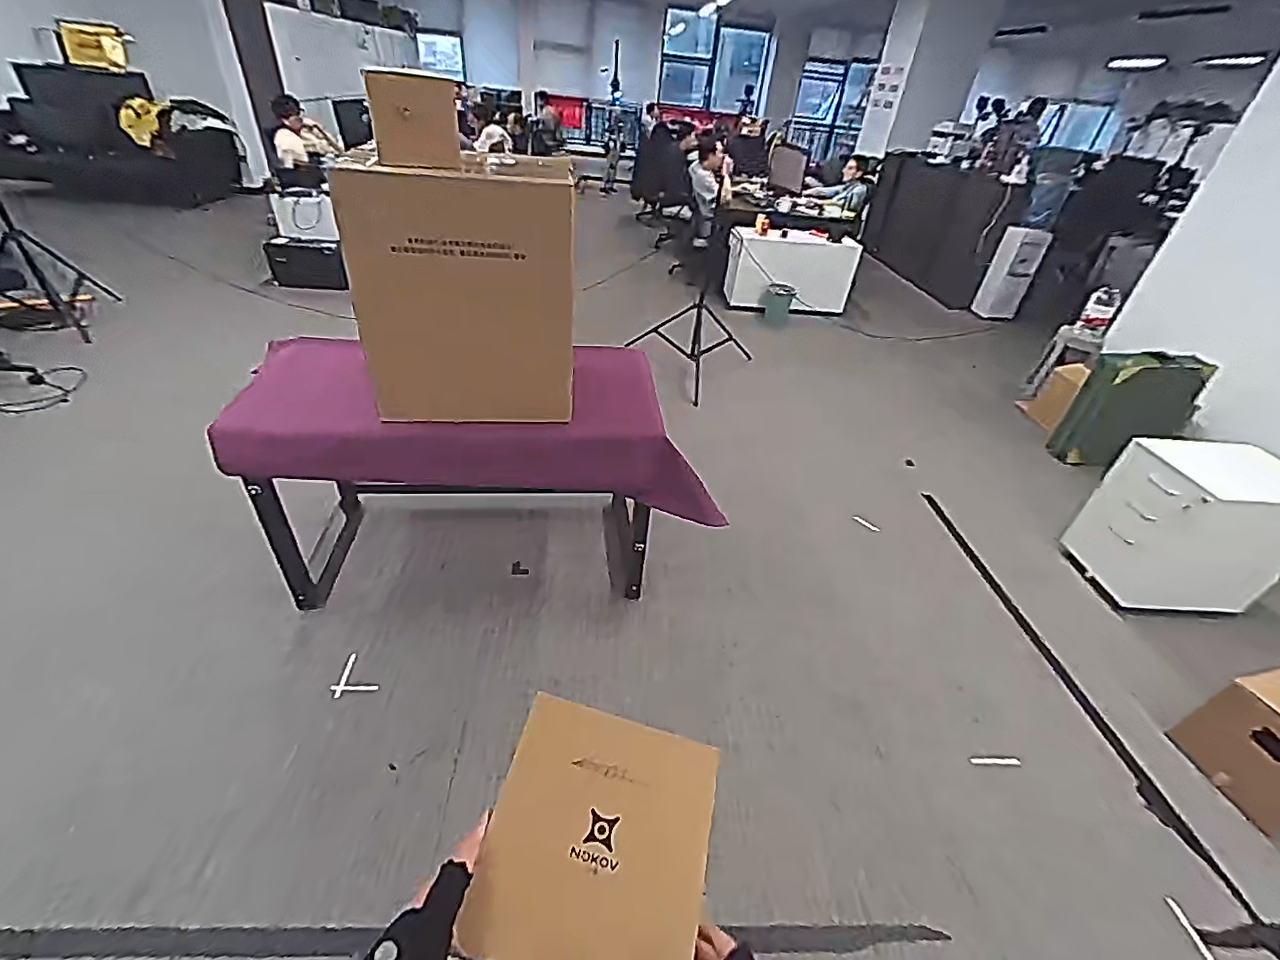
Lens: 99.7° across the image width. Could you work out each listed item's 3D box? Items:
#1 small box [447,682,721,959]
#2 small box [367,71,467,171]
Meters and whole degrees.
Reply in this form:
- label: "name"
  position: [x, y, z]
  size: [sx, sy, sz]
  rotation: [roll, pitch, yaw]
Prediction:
- label: "small box"
  position: [-0.043, 0.307, 0.460]
  size: [0.168, 0.176, 0.179]
  rotation: [18, 47, -1]
- label: "small box"
  position: [-0.495, -0.799, 1.207]
  size: [0.179, 0.176, 0.168]
  rotation: [-10, 41, -20]
